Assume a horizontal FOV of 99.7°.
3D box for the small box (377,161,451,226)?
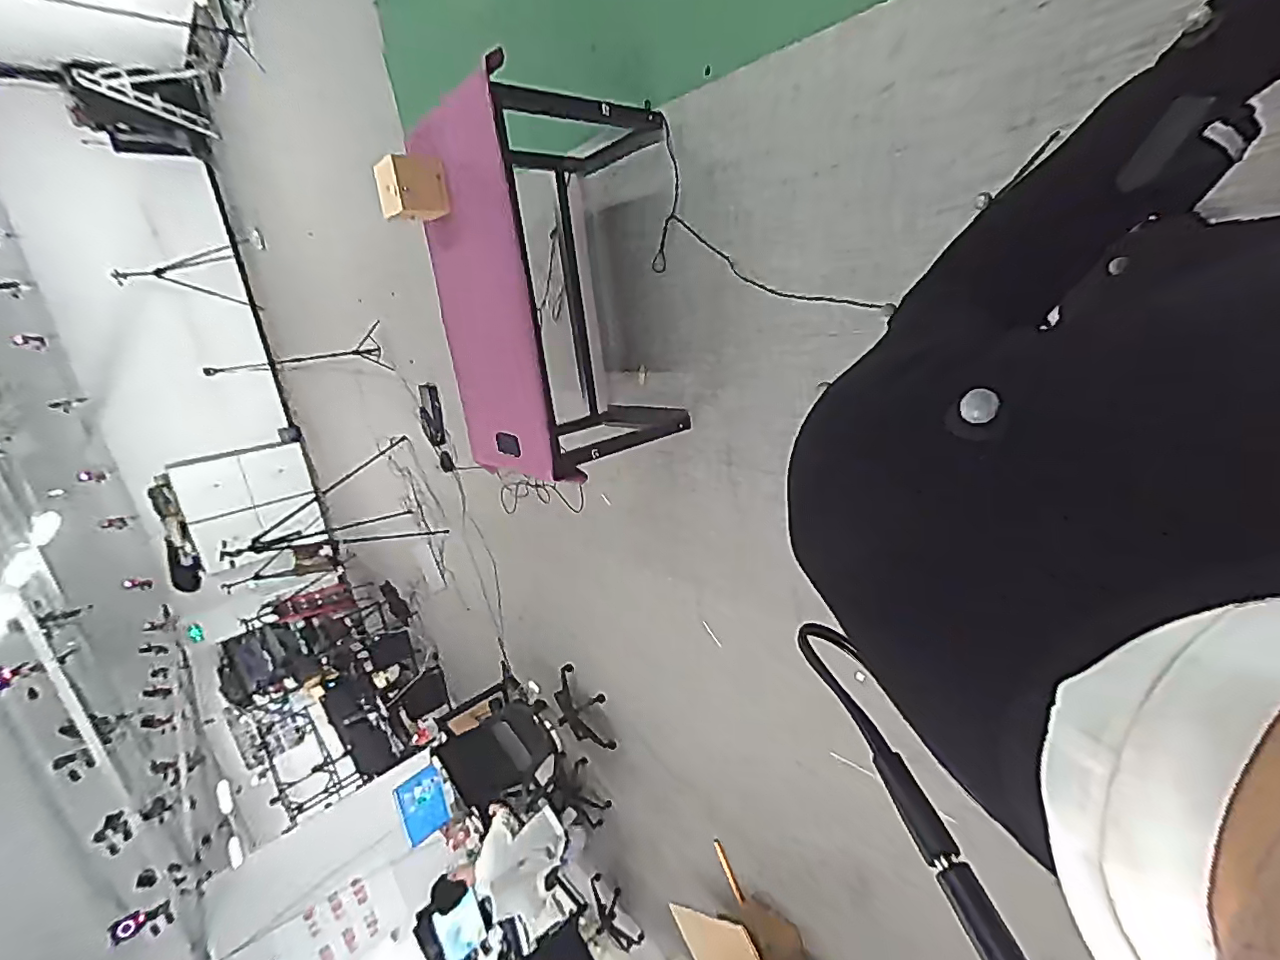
[{"bbox_3d":[-0.763,-0.964,1.832,0.179,0.176,0.168,14,117,47],"label":"small box"}]
